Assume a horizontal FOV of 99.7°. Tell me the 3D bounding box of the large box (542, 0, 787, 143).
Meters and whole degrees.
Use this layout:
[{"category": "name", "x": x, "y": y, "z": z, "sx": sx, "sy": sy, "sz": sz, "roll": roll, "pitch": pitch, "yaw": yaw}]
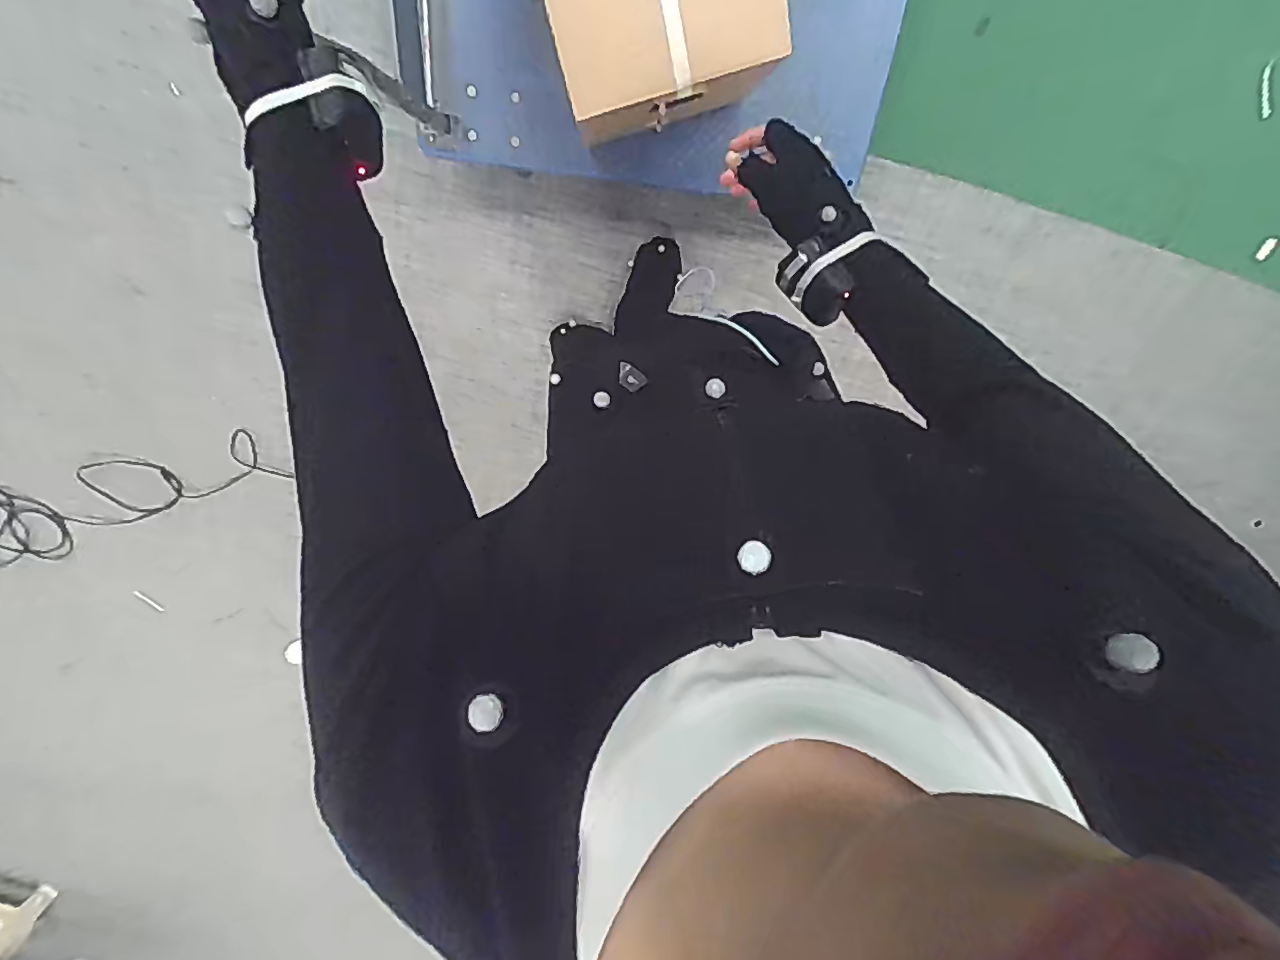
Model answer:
[{"category": "large box", "x": 0.003, "y": -0.786, "z": 0.804, "sx": 0.320, "sy": 0.320, "sz": 0.408, "roll": -13, "pitch": 115, "yaw": 4}]
